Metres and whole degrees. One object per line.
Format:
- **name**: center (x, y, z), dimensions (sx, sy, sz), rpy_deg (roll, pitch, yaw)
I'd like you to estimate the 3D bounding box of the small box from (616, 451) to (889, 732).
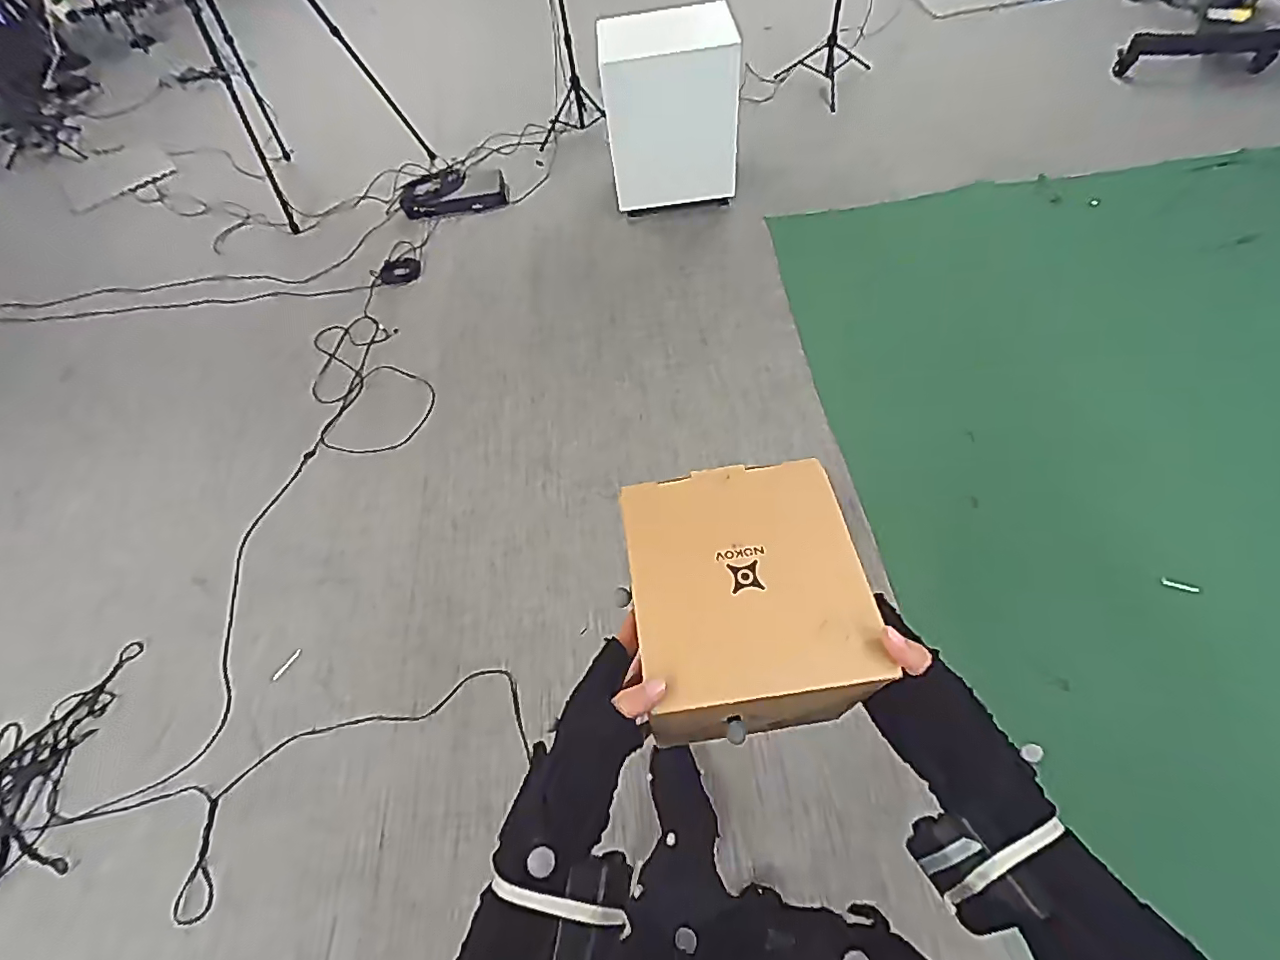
- **small box**: center (0.077, 0.103, 0.458), dimensions (0.168, 0.176, 0.179), rpy_deg (-9, 55, -1)
